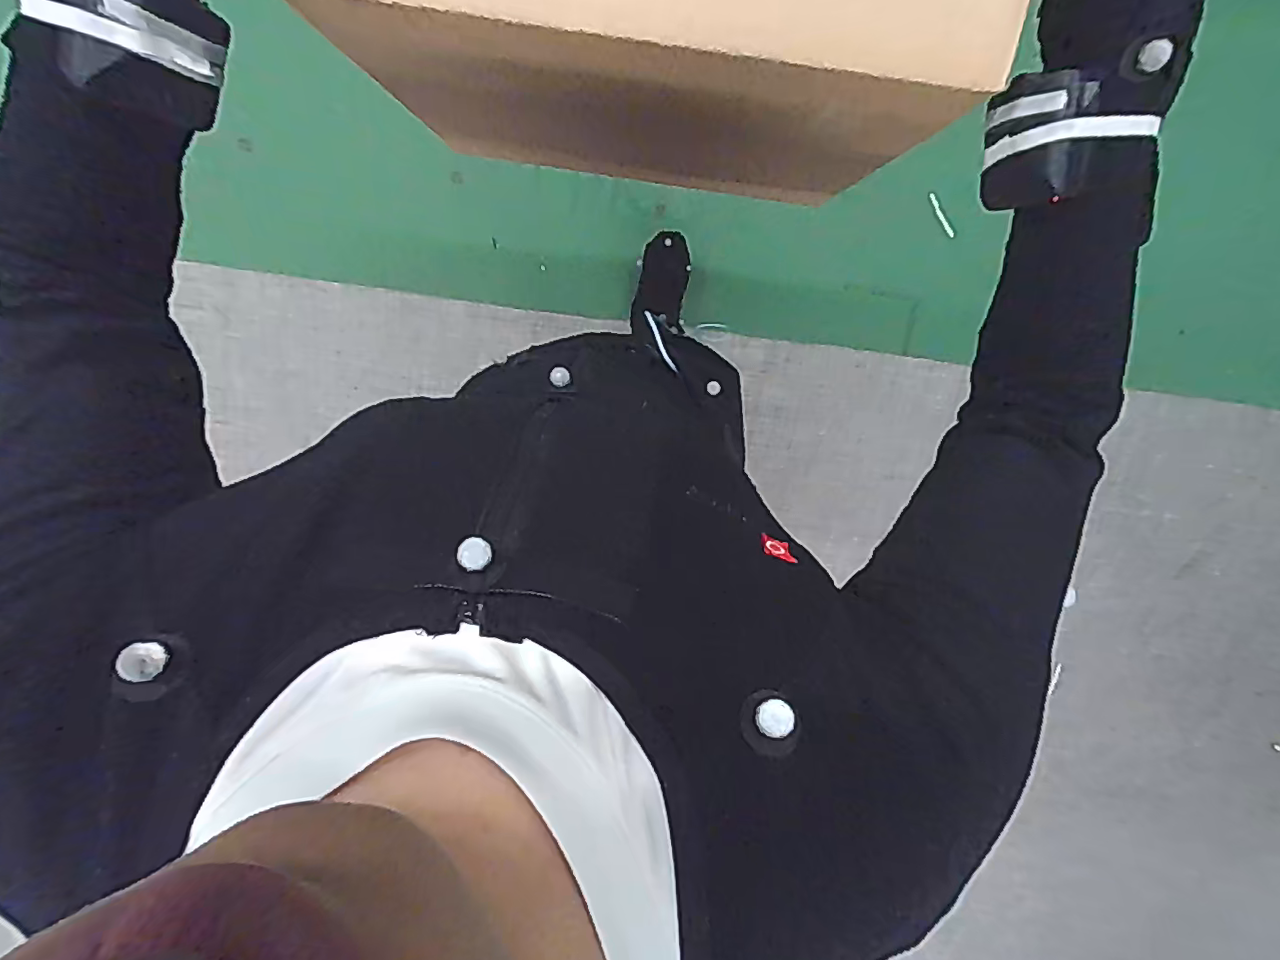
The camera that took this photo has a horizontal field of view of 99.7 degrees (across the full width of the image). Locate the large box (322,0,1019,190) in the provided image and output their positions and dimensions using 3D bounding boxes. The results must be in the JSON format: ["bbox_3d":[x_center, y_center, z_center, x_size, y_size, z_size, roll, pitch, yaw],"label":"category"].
[{"bbox_3d":[0.023,-0.437,0.401,0.408,0.320,0.320,7,107,-2],"label":"large box"}]
